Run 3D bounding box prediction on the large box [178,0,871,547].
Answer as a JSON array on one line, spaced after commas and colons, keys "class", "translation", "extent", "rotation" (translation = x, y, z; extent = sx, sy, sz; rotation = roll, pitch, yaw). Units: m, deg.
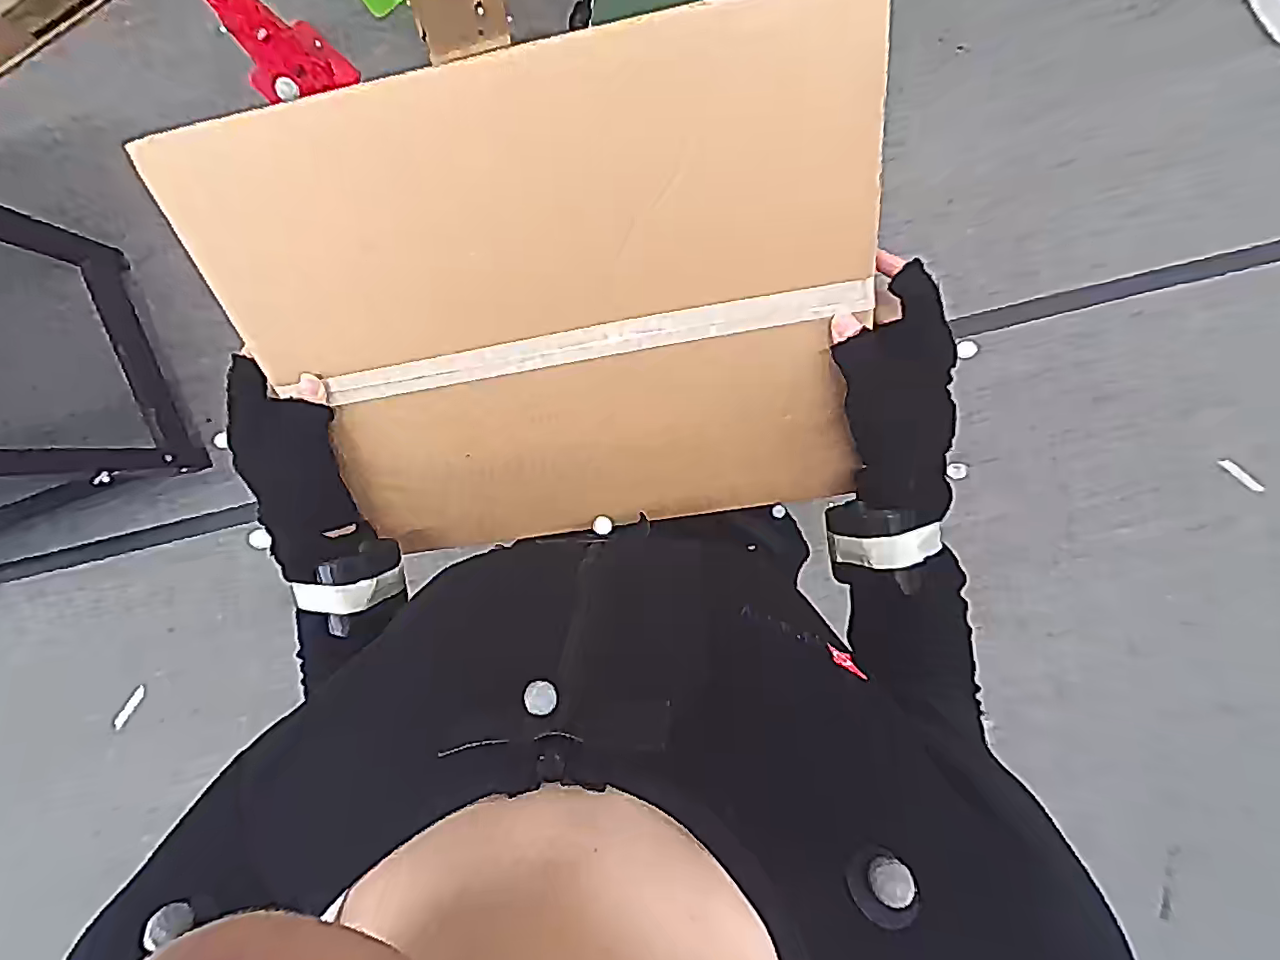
[{"class": "large box", "translation": [-0.050, -0.177, 0.495], "extent": [0.408, 0.320, 0.320], "rotation": [-8, 125, 7]}]
